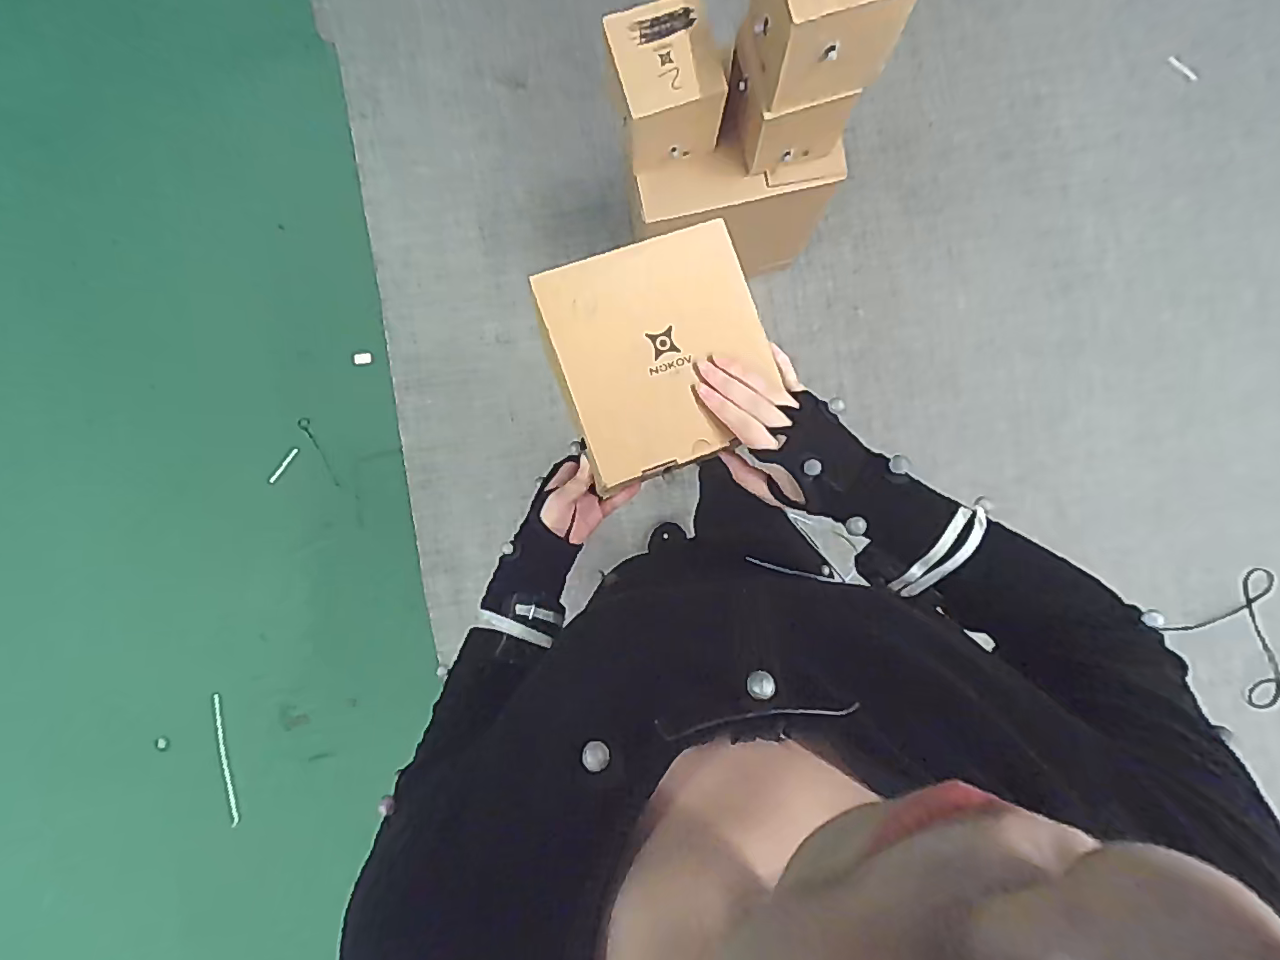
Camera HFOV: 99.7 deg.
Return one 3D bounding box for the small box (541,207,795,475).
[{"bbox_3d":[0.013,-0.113,0.508,0.168,0.176,0.179,-20,90,-8],"label":"small box"}]
